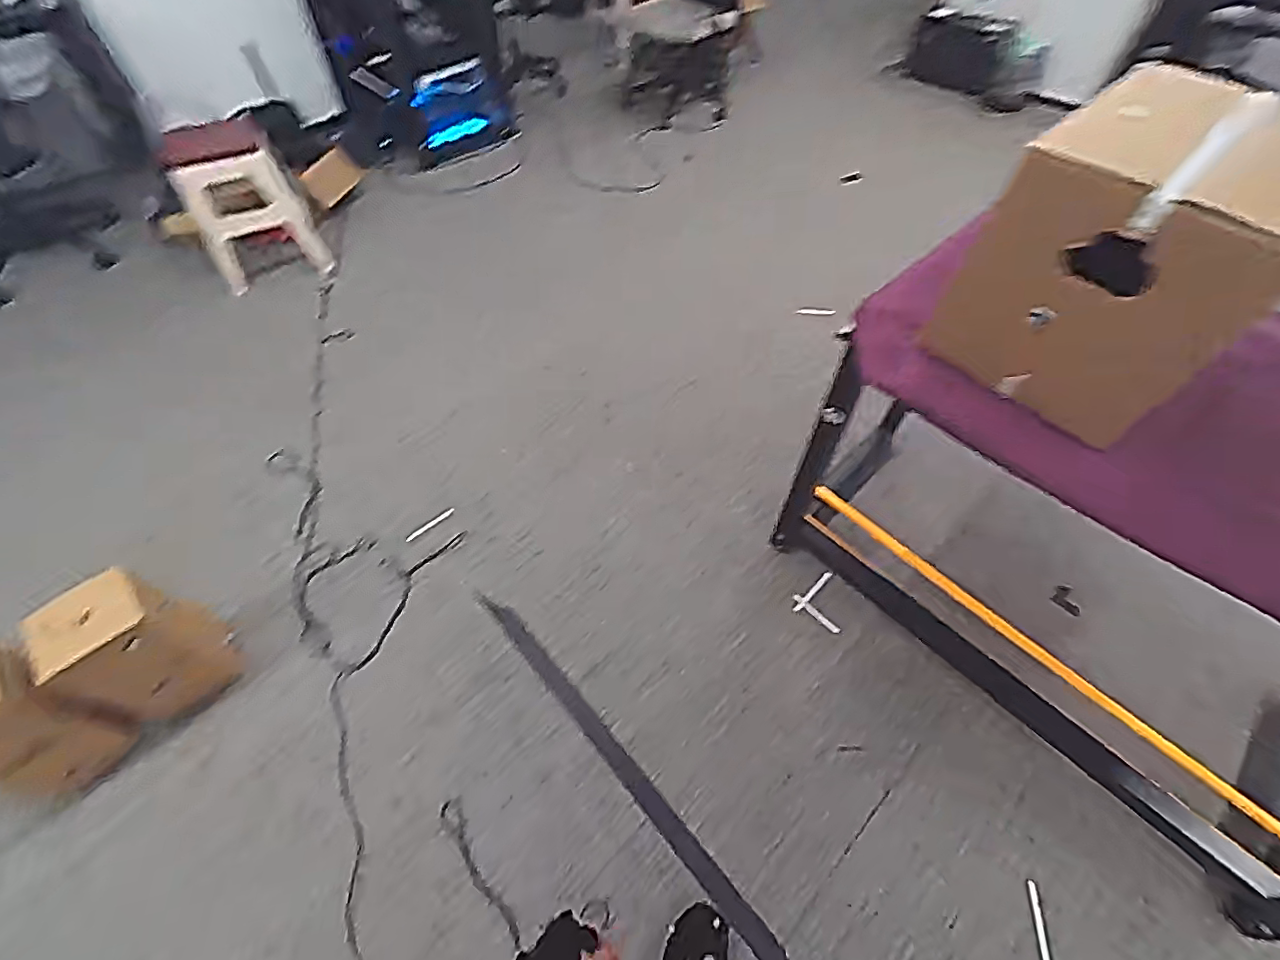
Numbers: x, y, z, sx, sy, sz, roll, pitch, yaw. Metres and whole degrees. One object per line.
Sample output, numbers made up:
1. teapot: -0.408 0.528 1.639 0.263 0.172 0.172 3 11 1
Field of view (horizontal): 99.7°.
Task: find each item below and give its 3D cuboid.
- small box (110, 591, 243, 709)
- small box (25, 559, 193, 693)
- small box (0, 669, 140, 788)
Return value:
1. small box: -1.069 0.395 1.244 0.179 0.176 0.168 -31 61 -21
2. small box: -1.070 0.302 1.108 0.179 0.176 0.168 -38 62 -23
3. small box: -1.242 0.526 1.155 0.179 0.176 0.168 35 62 21
